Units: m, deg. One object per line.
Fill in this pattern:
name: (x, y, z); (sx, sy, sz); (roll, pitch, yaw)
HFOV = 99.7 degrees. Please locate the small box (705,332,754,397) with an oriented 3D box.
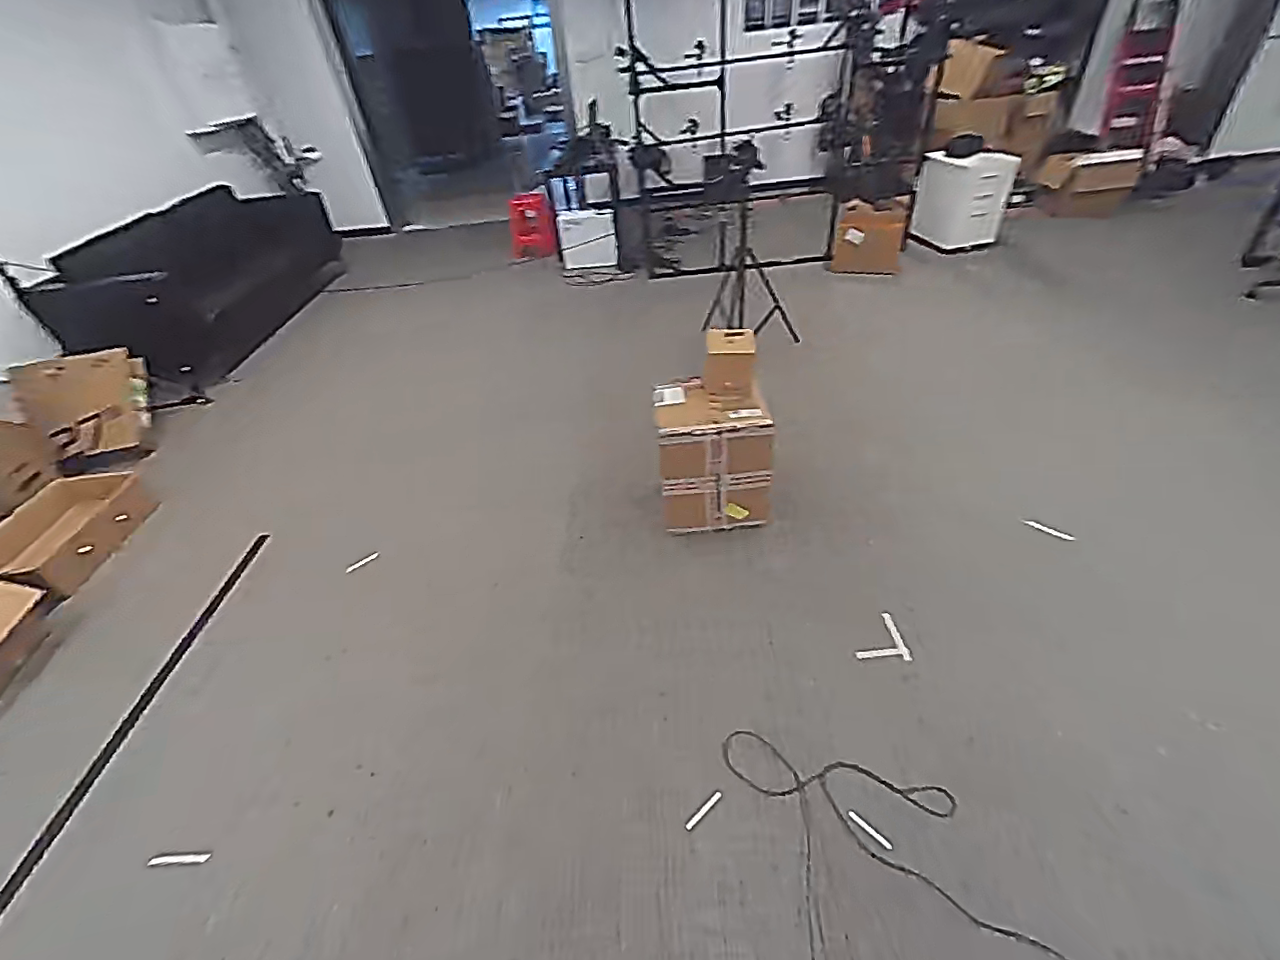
small box: (0.321, -0.421, 1.963); (0.168, 0.176, 0.179); (1, 43, 6)
